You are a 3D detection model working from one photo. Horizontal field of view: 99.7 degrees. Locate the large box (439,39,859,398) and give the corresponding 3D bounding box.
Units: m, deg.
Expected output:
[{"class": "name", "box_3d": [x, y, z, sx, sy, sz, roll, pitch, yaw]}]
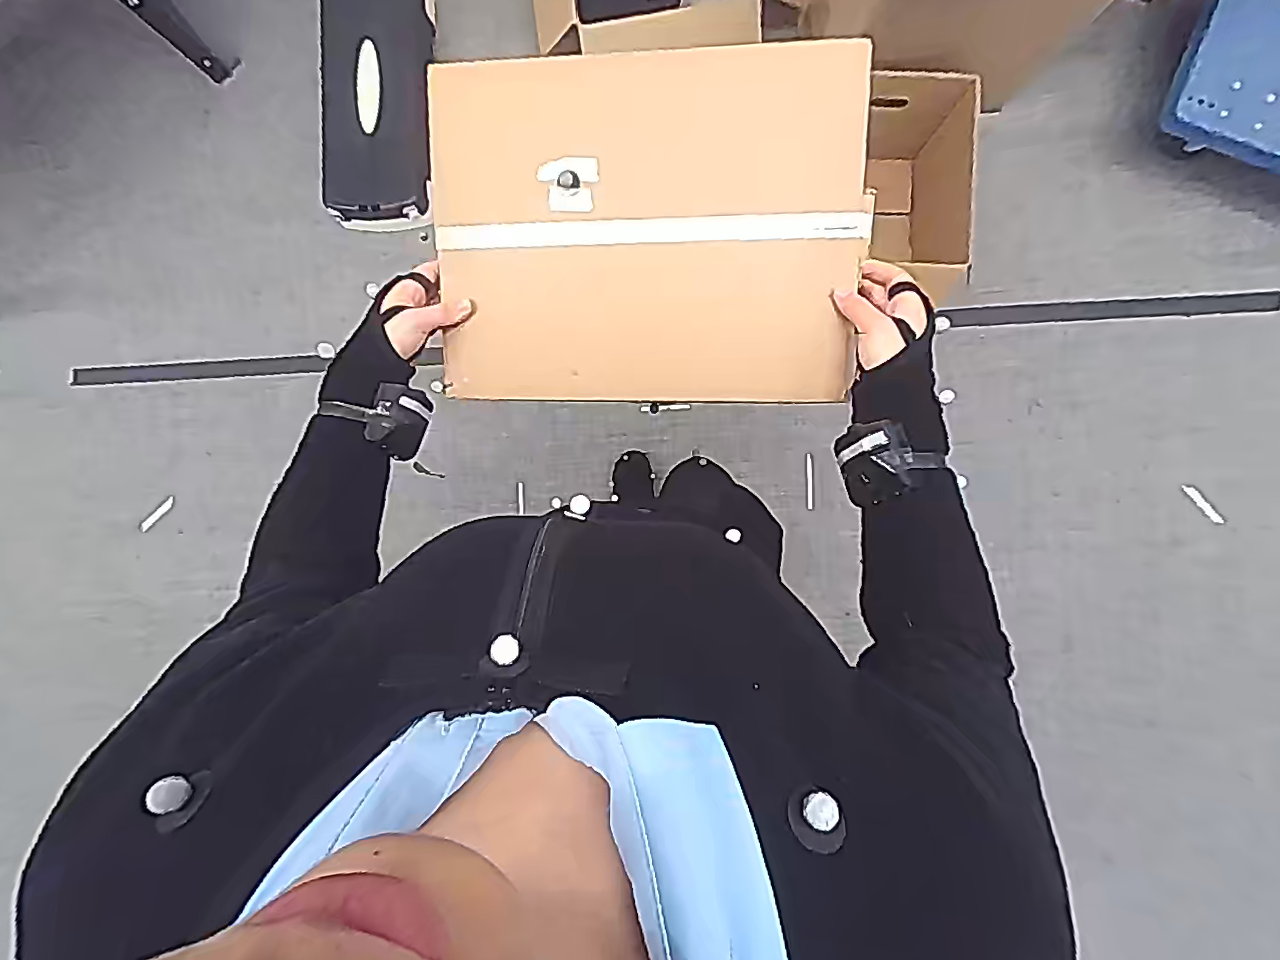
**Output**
[{"class": "large box", "box_3d": [0.021, -0.261, 0.669, 0.408, 0.320, 0.320, 1, 98, 8]}]
